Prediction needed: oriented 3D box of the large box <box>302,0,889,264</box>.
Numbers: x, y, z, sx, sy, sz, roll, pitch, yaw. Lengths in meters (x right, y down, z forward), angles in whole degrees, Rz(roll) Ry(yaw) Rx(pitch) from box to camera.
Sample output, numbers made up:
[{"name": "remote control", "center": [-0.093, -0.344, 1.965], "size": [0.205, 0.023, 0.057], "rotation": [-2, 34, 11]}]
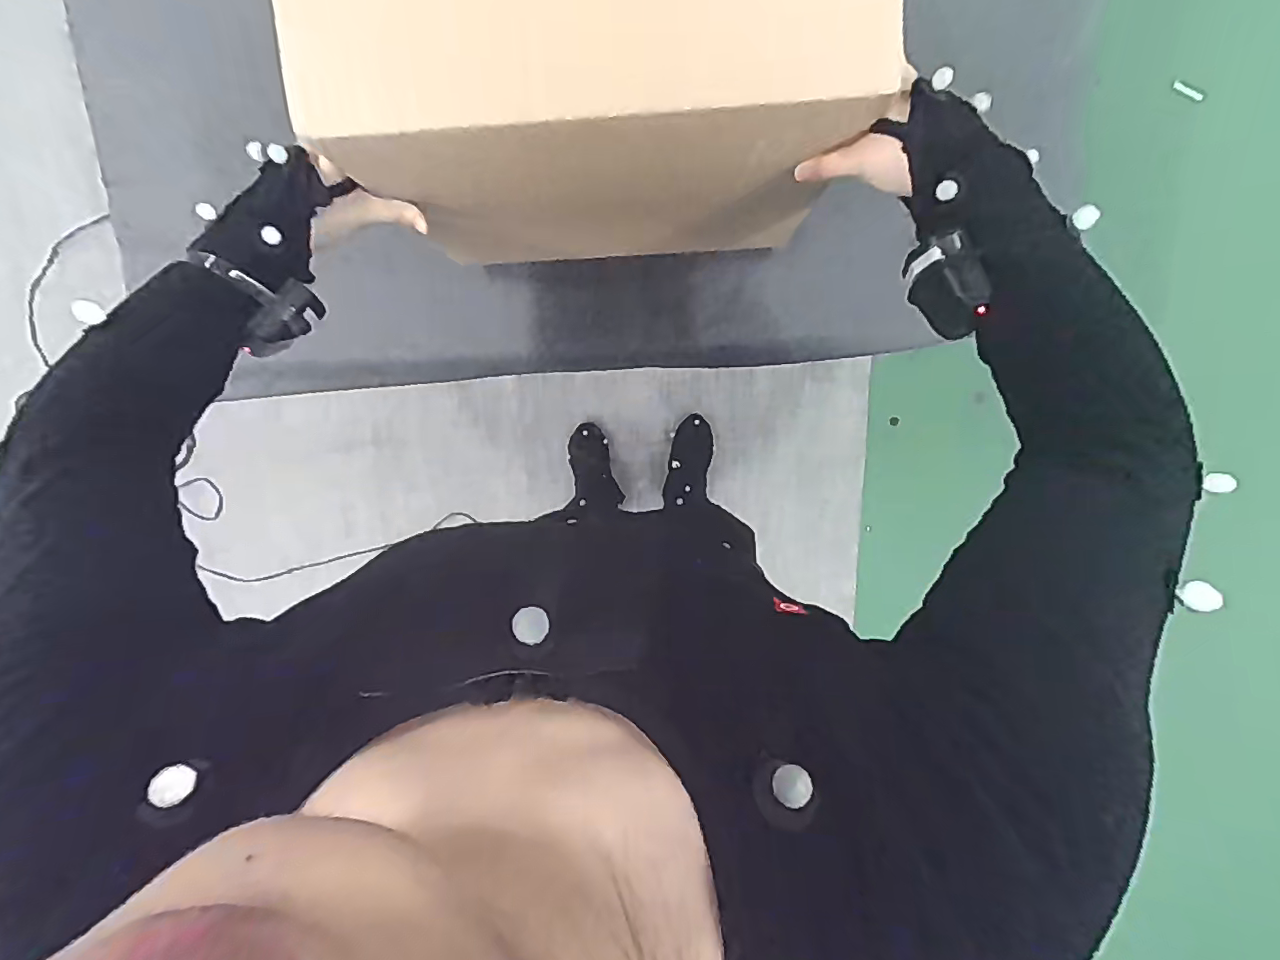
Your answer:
[{"name": "large box", "center": [-0.036, -0.416, 0.506], "size": [0.408, 0.320, 0.320], "rotation": [-4, 97, 2]}]
